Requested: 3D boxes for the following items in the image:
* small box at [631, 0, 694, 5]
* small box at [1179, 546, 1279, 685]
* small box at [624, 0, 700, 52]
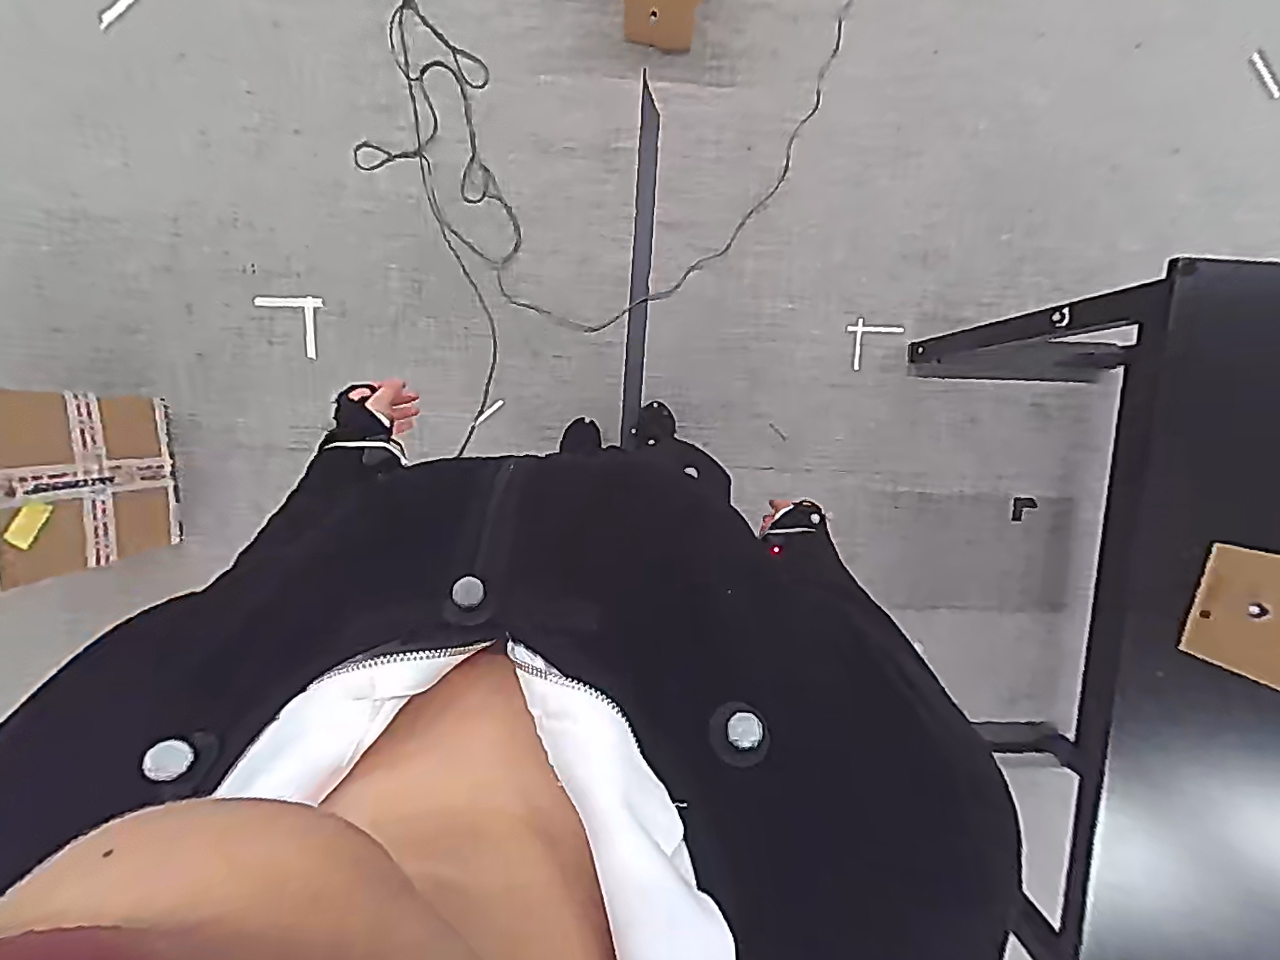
[{"bbox_3d":[0.058,-1.137,1.122,0.179,0.176,0.168,3,96,-2],"label":"small box"},{"bbox_3d":[0.901,0.195,0.726,0.179,0.176,0.168,13,96,-4],"label":"small box"},{"bbox_3d":[0.058,-1.167,1.285,0.179,0.176,0.168,9,96,-3],"label":"small box"}]
